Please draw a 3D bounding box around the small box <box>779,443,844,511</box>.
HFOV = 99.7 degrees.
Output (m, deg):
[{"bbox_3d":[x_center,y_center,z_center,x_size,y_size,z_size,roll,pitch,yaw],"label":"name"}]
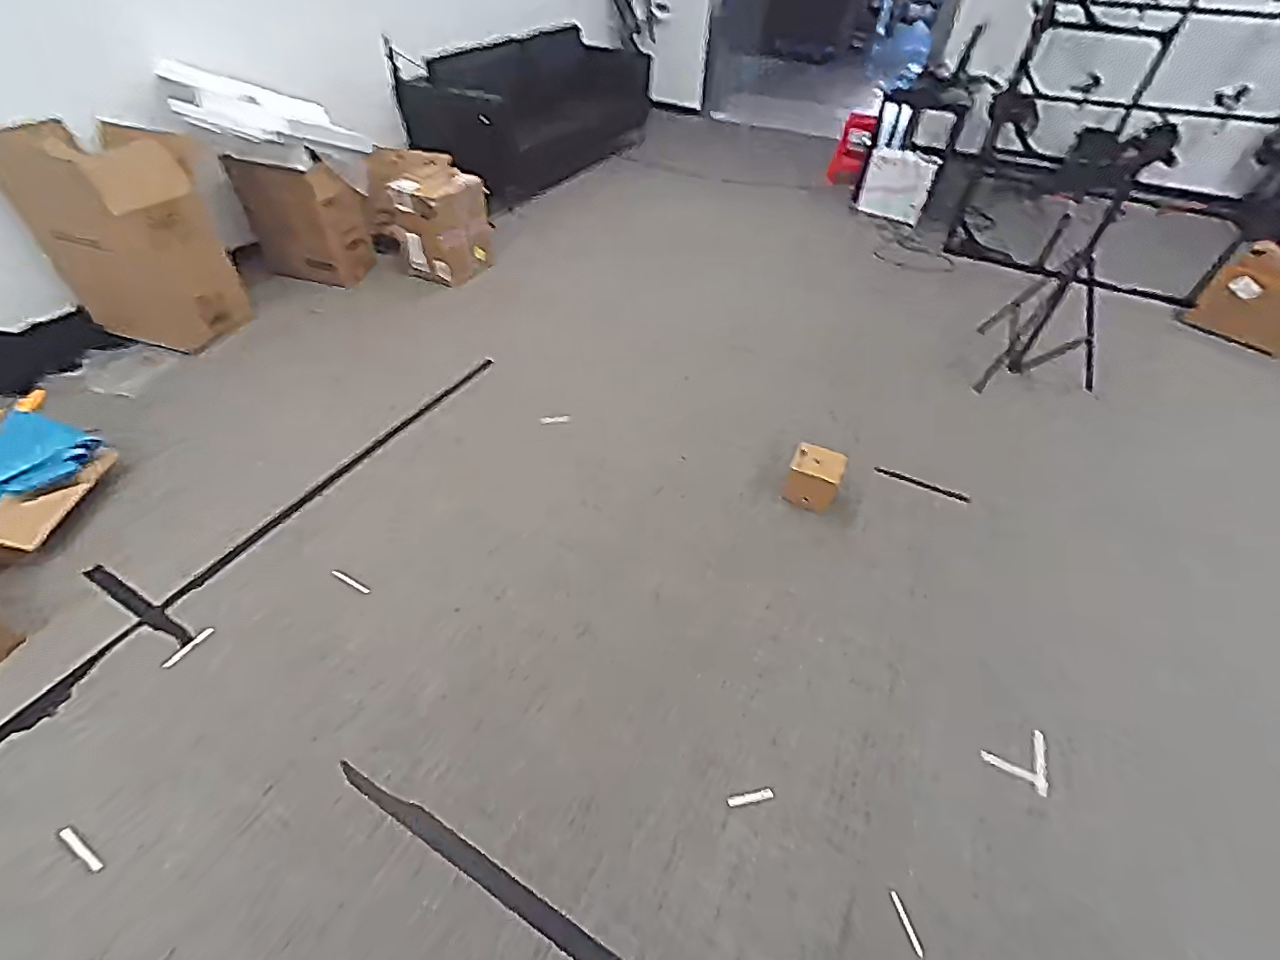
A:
[{"bbox_3d":[0.648,-0.006,2.047,0.179,0.176,0.168,21,49,17],"label":"small box"}]
